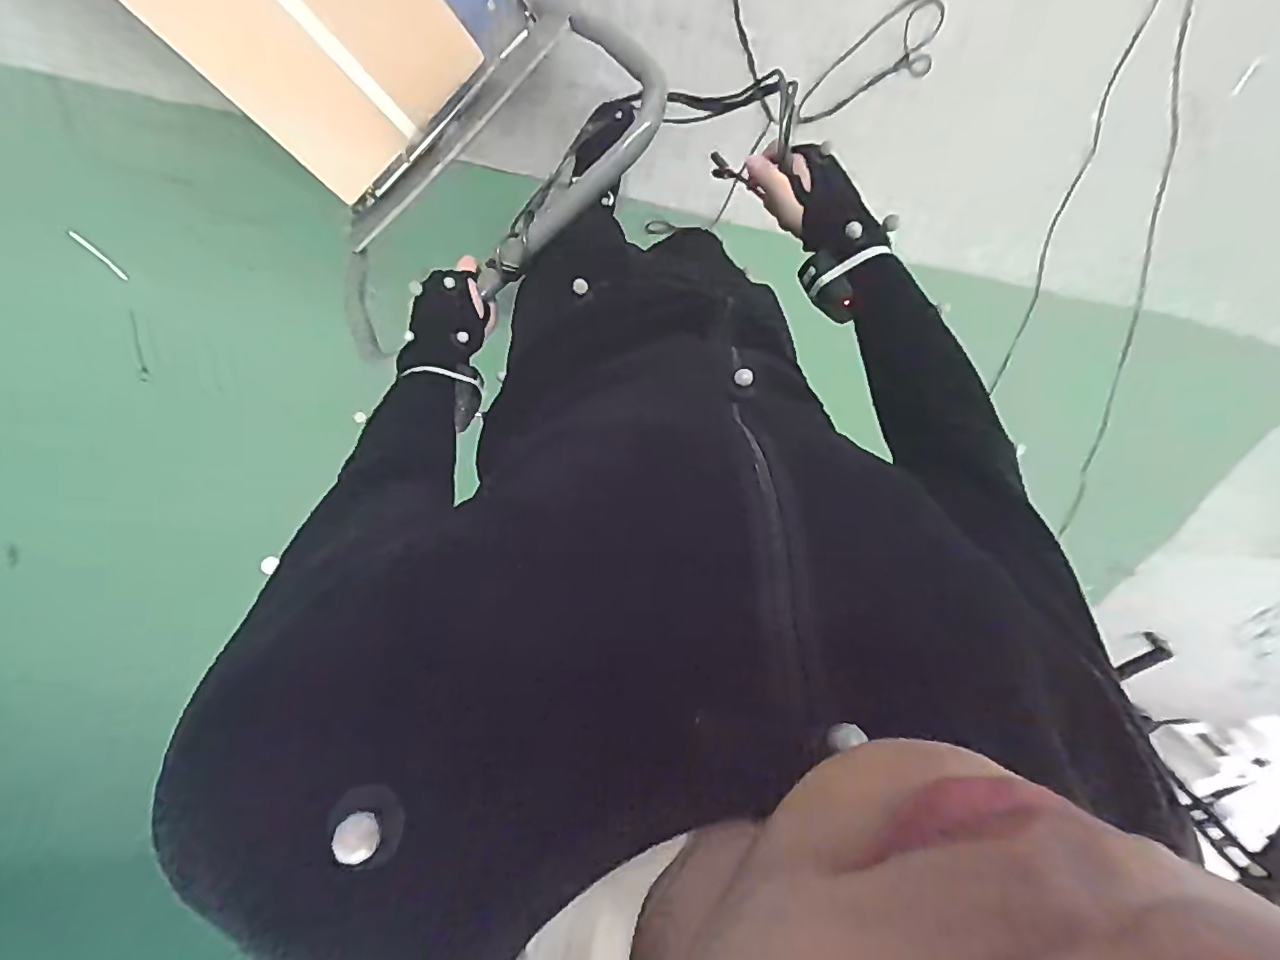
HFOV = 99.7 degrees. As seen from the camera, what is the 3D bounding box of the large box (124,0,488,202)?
[{"bbox_3d":[-0.489,-0.725,0.814,0.320,0.320,0.408,-38,132,14],"label":"large box"}]
